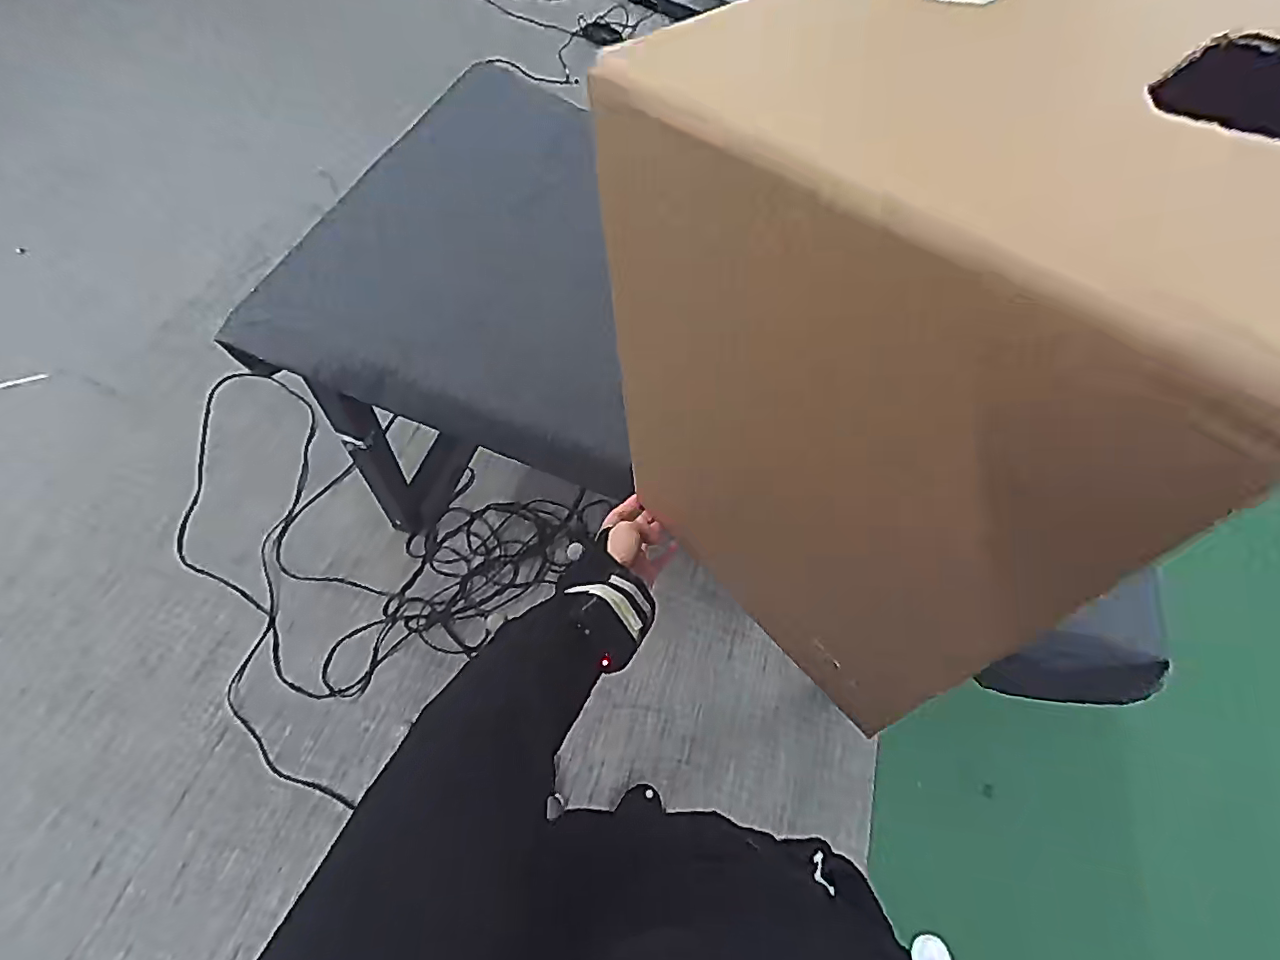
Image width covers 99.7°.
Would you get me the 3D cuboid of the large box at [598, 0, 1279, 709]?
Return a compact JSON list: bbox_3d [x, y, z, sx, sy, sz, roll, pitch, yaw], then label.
[{"bbox_3d":[0.198,-0.084,0.417,0.320,0.408,0.320,-36,62,-18],"label":"large box"}]
